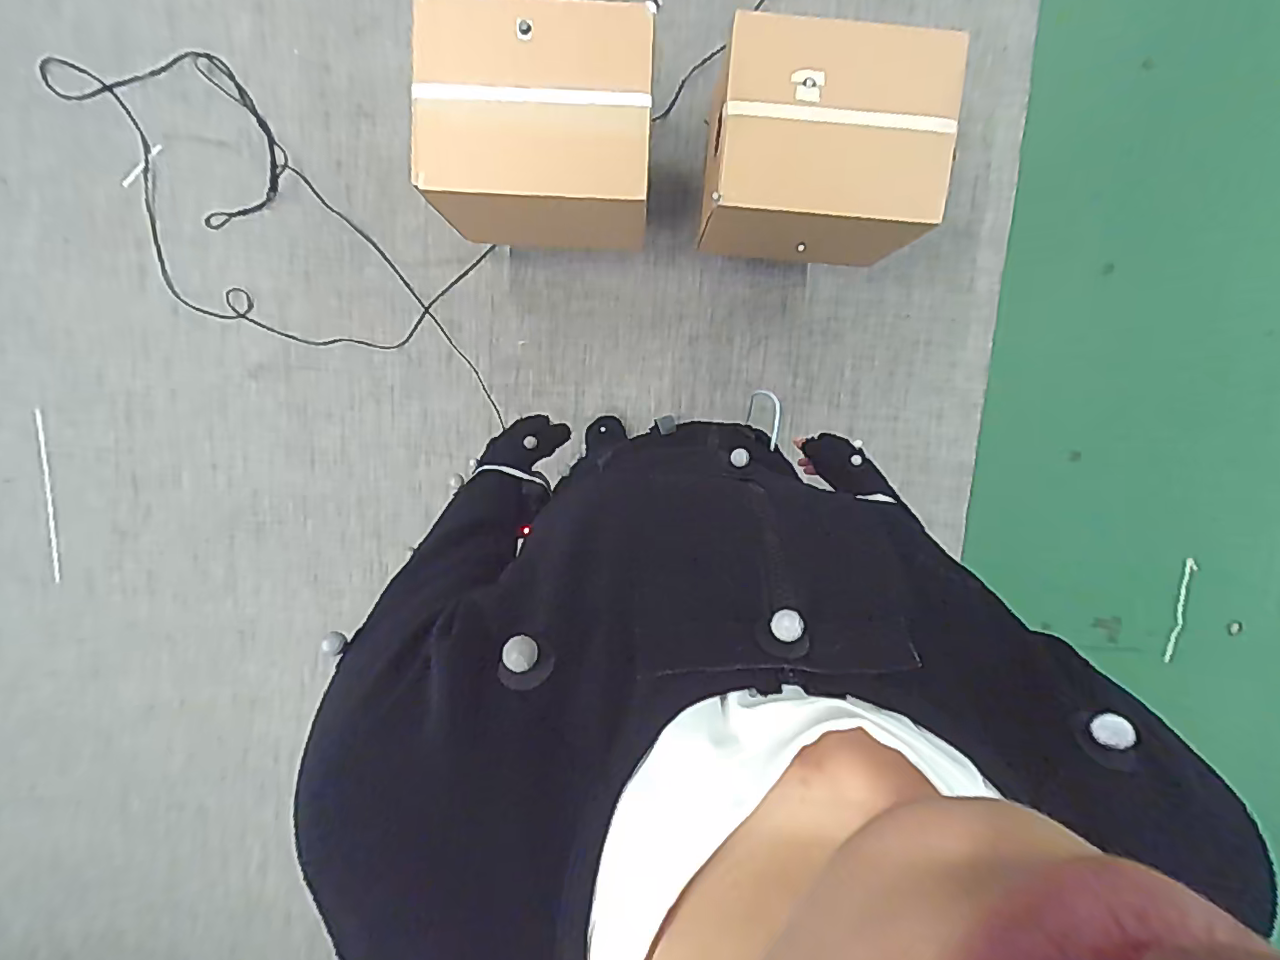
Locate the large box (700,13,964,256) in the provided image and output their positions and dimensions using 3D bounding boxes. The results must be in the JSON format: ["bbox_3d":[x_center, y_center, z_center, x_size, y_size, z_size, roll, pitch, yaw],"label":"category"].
[{"bbox_3d":[0.349,-0.656,1.090,0.408,0.320,0.320,5,98,-1],"label":"large box"}]
